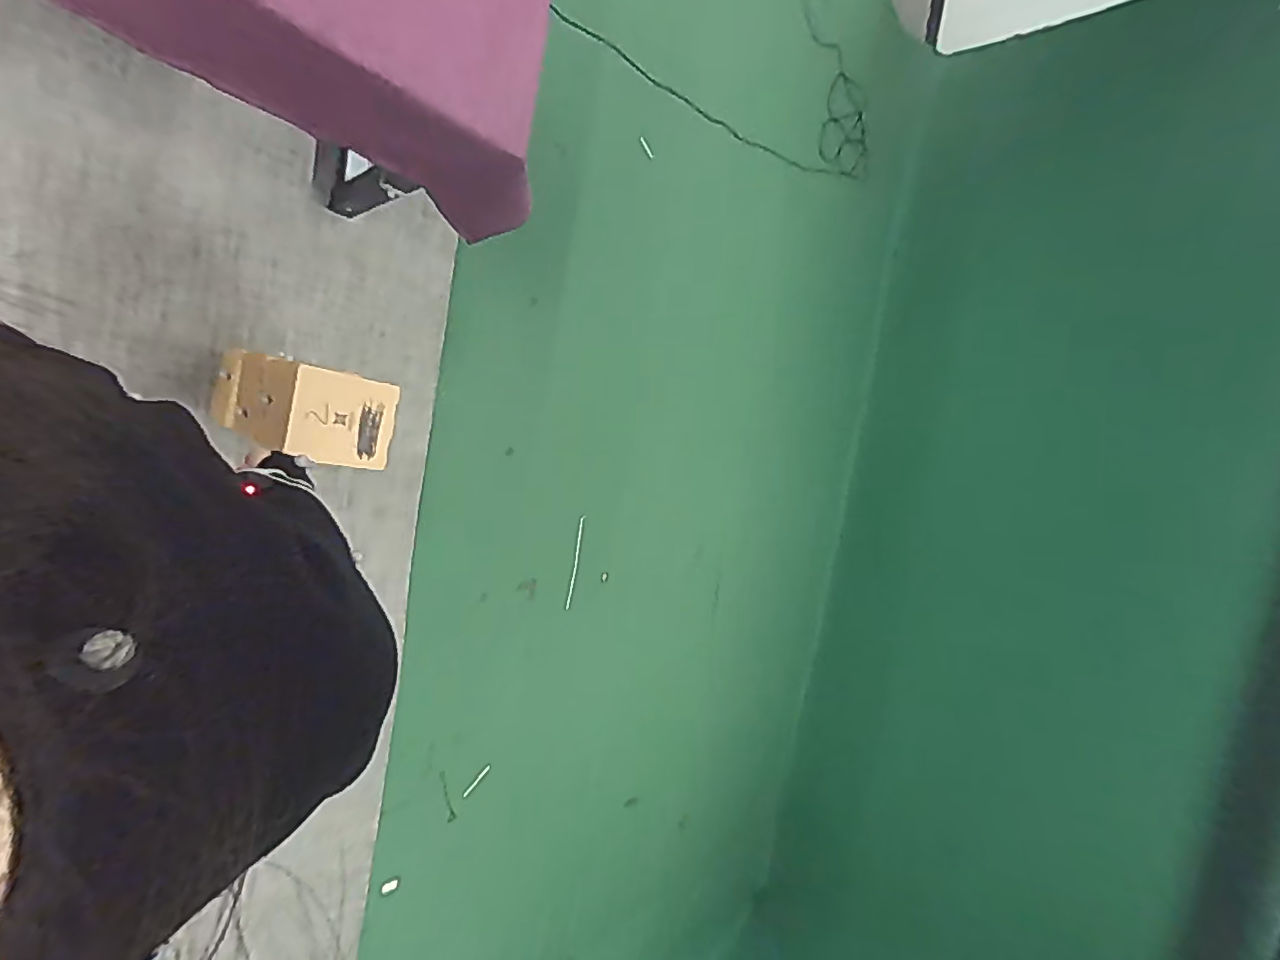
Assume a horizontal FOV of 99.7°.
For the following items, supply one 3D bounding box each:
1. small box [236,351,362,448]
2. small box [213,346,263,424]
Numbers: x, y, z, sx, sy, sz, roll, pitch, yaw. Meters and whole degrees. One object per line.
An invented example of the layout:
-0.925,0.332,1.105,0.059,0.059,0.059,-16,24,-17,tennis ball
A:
-0.714,-0.167,1.128,0.179,0.176,0.168,7,96,-50,small box
-0.839,-0.197,1.229,0.179,0.176,0.168,11,92,-49,small box
